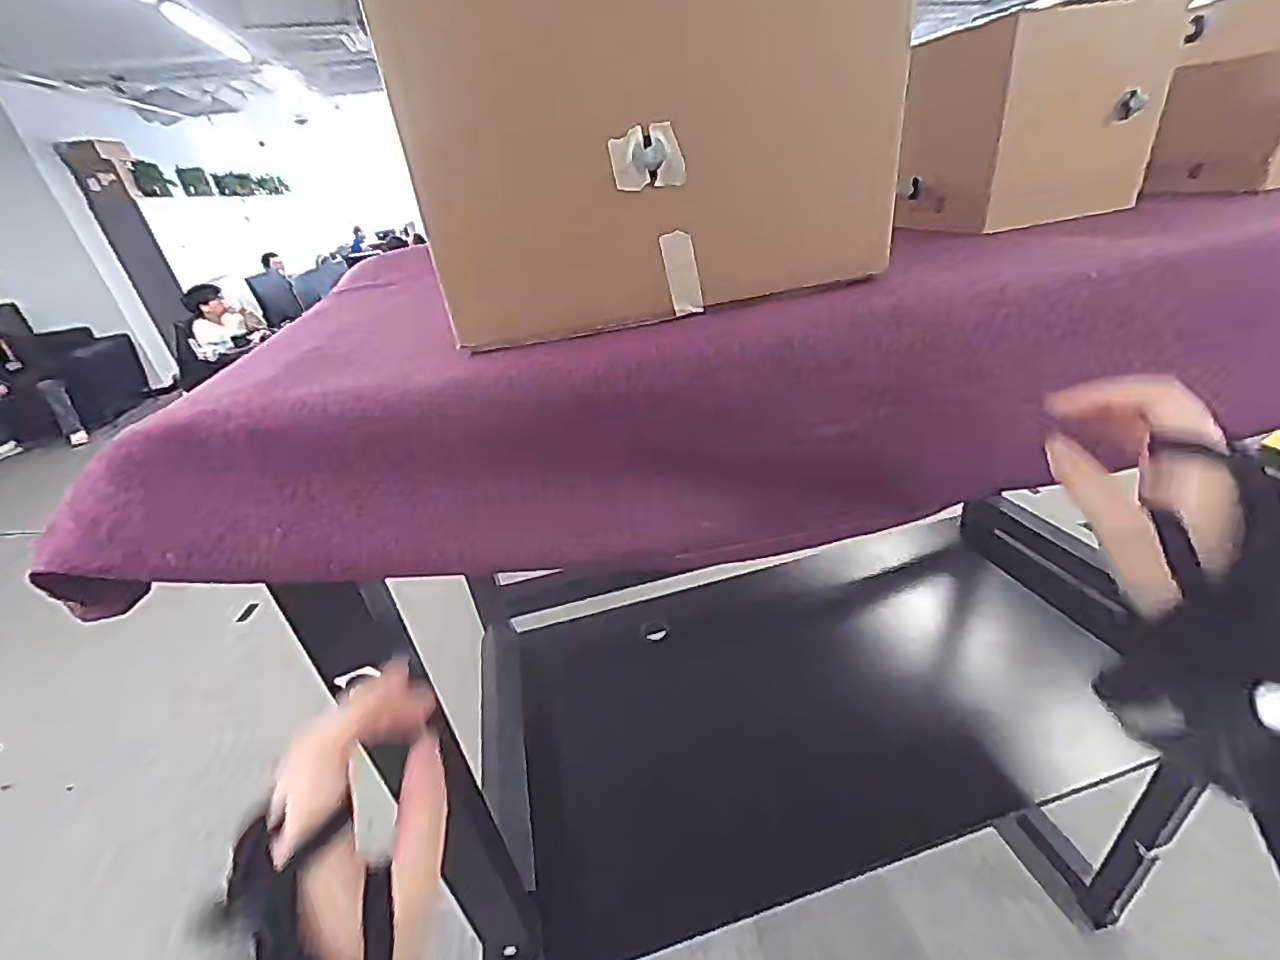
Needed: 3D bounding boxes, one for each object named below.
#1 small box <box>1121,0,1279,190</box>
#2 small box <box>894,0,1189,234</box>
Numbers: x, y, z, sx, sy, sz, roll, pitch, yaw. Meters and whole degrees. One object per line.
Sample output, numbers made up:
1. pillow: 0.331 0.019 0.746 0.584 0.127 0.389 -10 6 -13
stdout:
1. small box: 0.629 -0.403 0.553 0.179 0.176 0.168 -14 29 -11
2. small box: 0.365 -0.355 0.541 0.179 0.176 0.168 -14 29 -9
